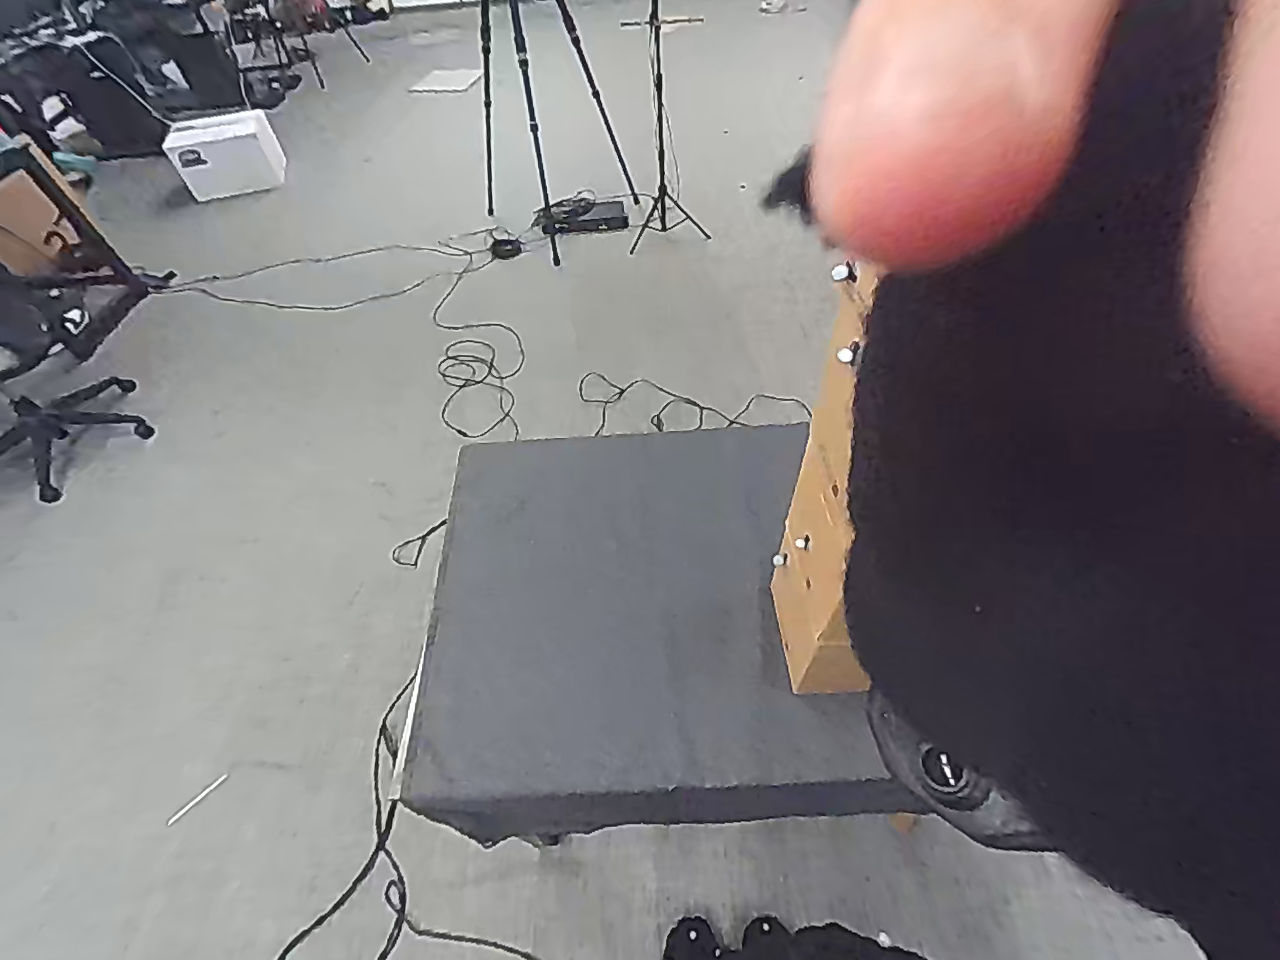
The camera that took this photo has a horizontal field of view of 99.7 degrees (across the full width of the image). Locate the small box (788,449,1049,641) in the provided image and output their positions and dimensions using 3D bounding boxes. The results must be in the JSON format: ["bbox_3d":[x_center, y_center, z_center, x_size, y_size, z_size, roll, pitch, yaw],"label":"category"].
[{"bbox_3d":[0.274,0.061,0.584,0.179,0.176,0.168,-5,50,1],"label":"small box"}]

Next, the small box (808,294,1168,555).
[{"bbox_3d":[0.260,-0.048,0.463,0.179,0.176,0.168,-2,50,2],"label":"small box"}]
